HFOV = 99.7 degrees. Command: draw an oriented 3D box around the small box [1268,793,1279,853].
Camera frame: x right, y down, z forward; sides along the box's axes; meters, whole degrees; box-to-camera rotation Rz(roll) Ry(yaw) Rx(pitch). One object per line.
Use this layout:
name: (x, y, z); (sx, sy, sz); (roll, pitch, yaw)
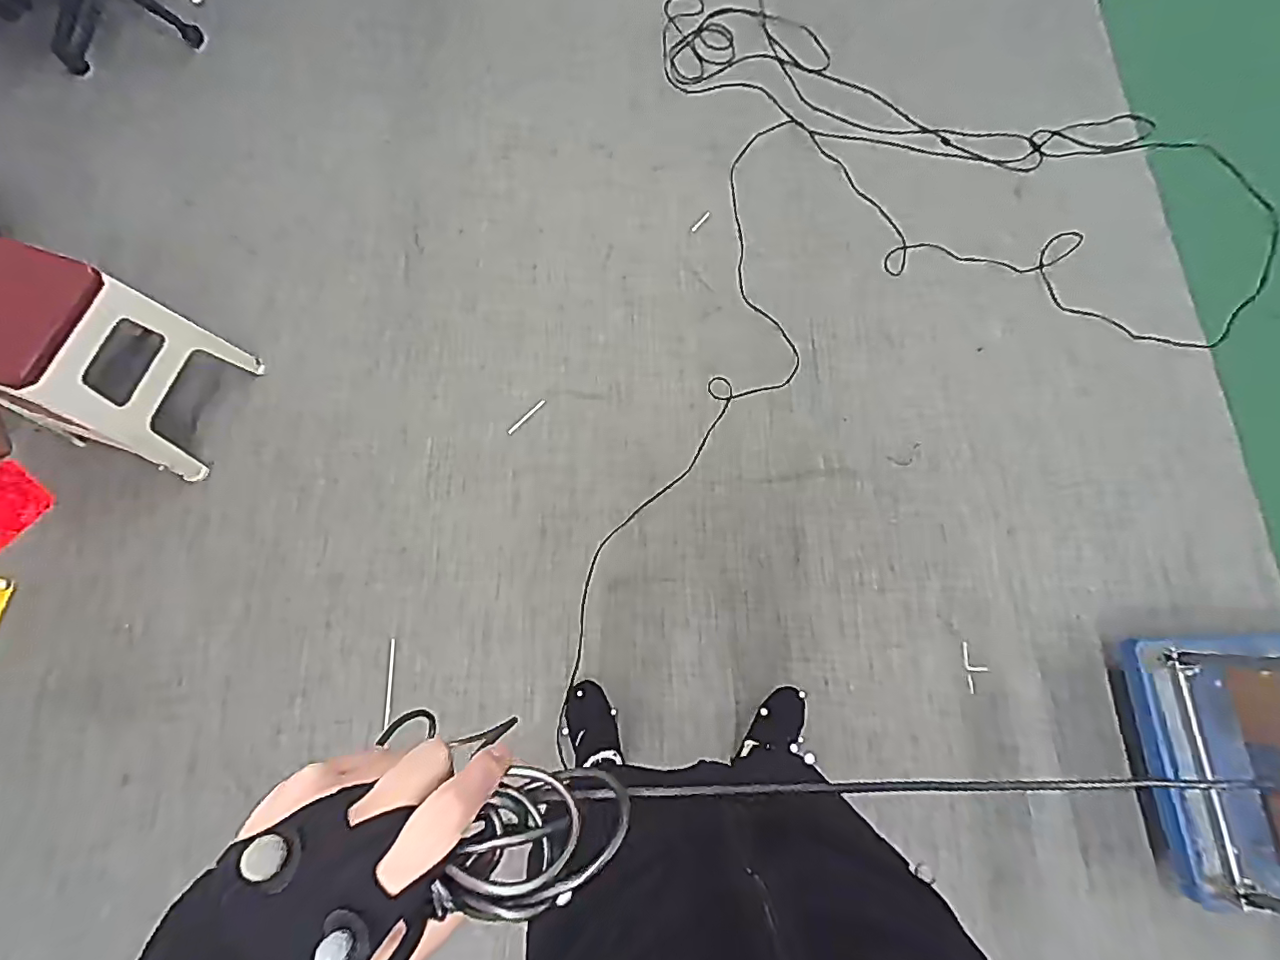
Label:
small box: (1.529, 0.779, 1.150); (0.179, 0.176, 0.168); (1, 75, -2)
